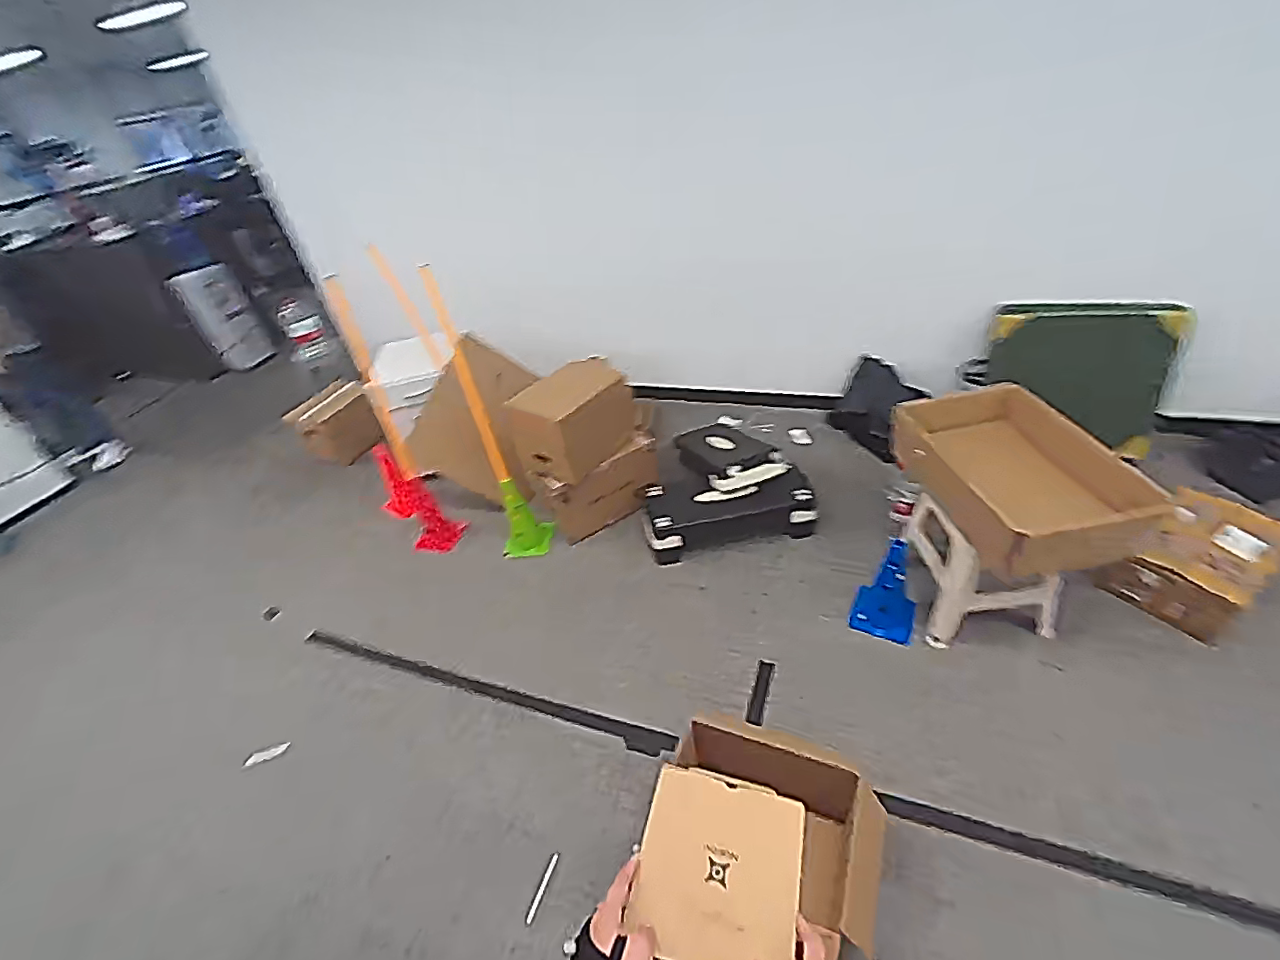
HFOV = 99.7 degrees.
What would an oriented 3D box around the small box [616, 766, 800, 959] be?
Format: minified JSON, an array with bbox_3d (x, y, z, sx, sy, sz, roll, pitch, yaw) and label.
[{"bbox_3d":[0.077,0.470,0.611,0.168,0.176,0.179,10,38,14],"label":"small box"}]
